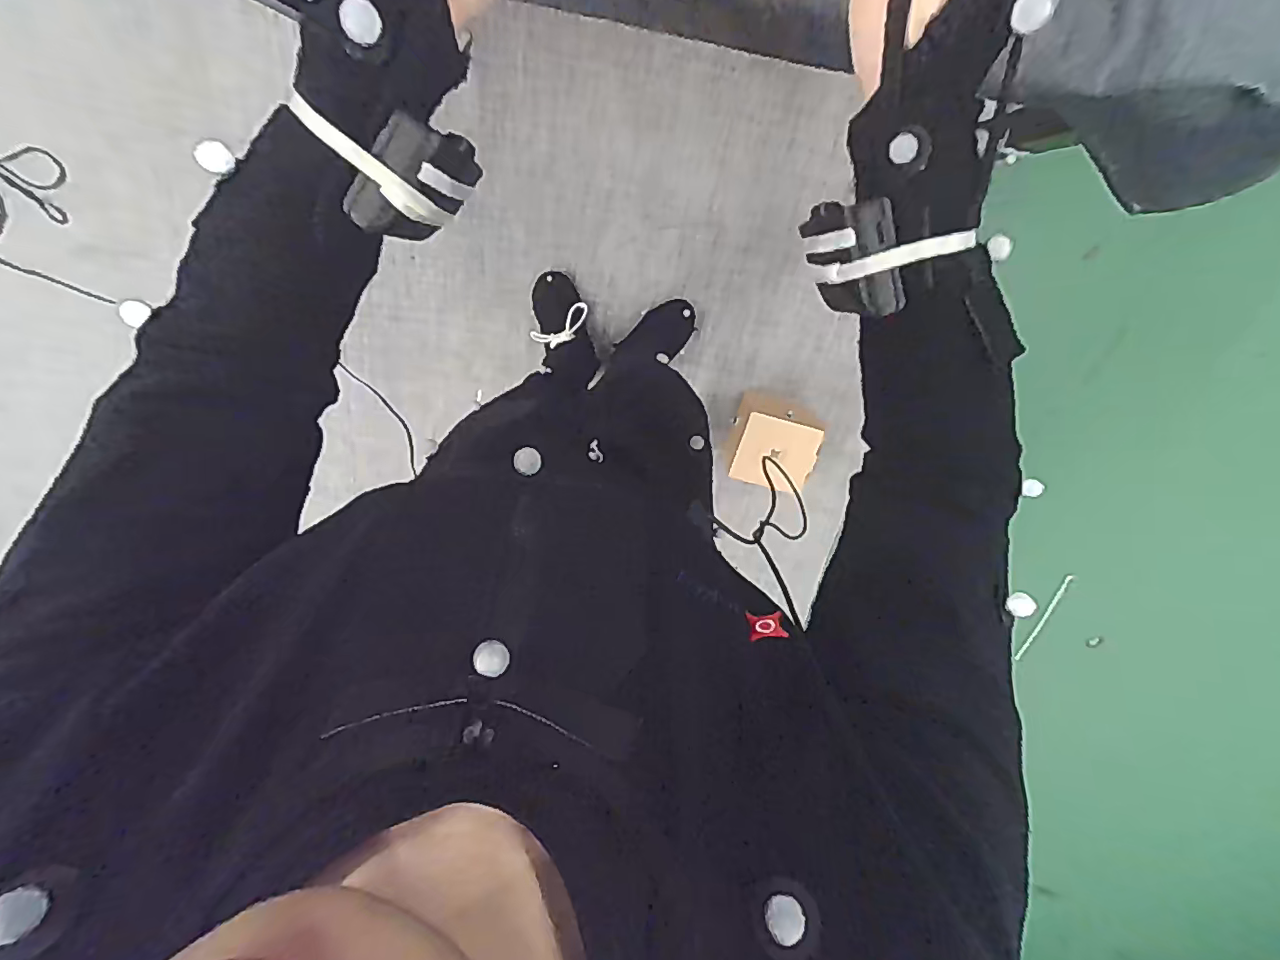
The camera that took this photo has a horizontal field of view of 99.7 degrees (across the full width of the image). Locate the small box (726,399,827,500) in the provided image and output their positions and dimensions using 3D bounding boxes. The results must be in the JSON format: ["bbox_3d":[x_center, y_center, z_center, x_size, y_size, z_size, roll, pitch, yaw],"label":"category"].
[{"bbox_3d":[0.312,-0.078,1.278,0.179,0.176,0.168,15,114,-2],"label":"small box"}]
